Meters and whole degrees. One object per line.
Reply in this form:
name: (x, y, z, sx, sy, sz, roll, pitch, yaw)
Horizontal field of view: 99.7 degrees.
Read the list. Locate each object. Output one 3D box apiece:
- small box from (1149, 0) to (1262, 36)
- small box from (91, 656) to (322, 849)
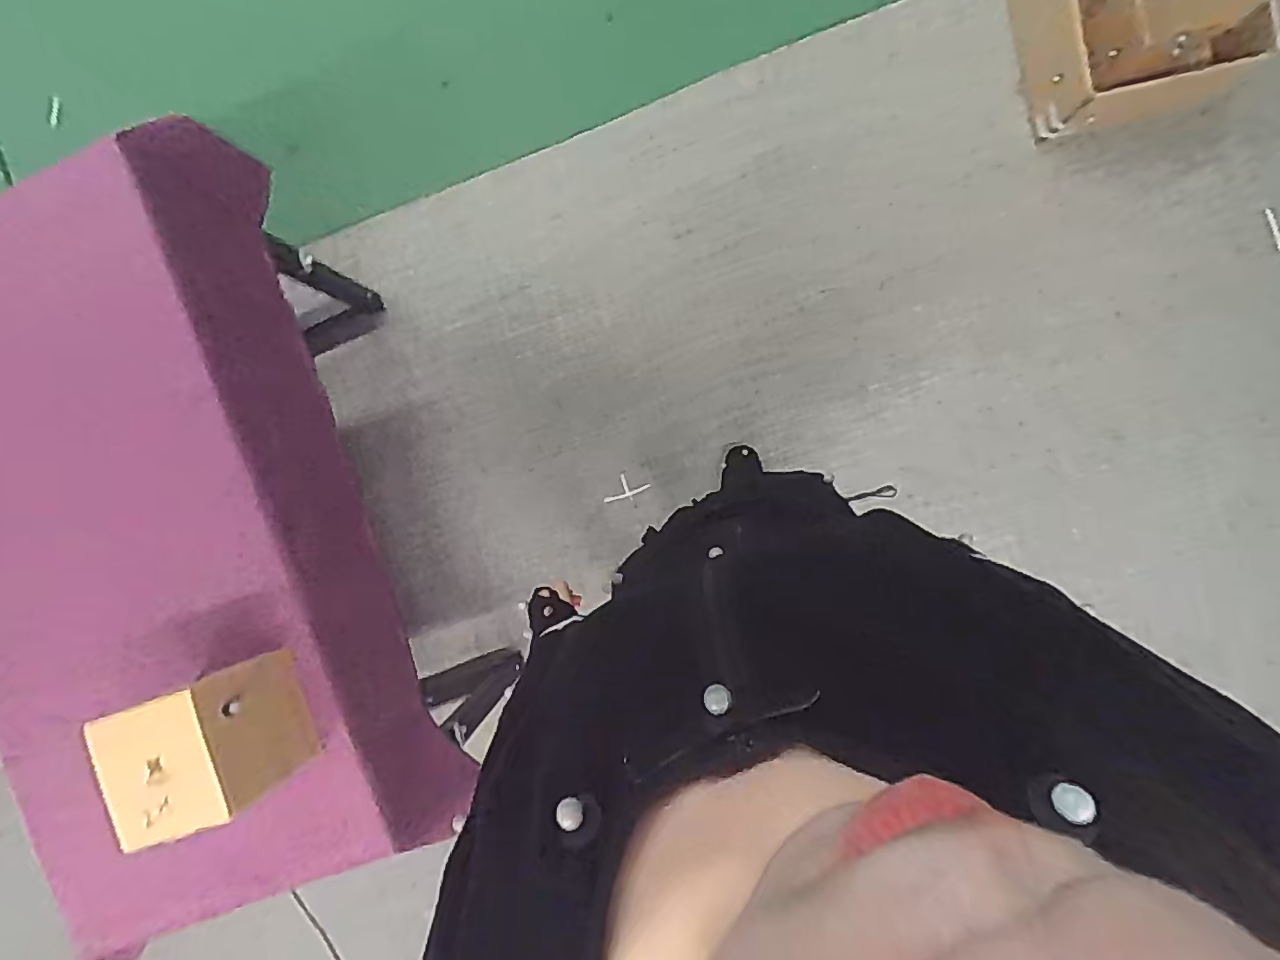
small box: (1.151, -1.024, 1.061, 0.168, 0.176, 0.179, -12, 89, 7)
small box: (-0.601, 0.370, 0.771, 0.168, 0.176, 0.179, -20, 89, 7)
